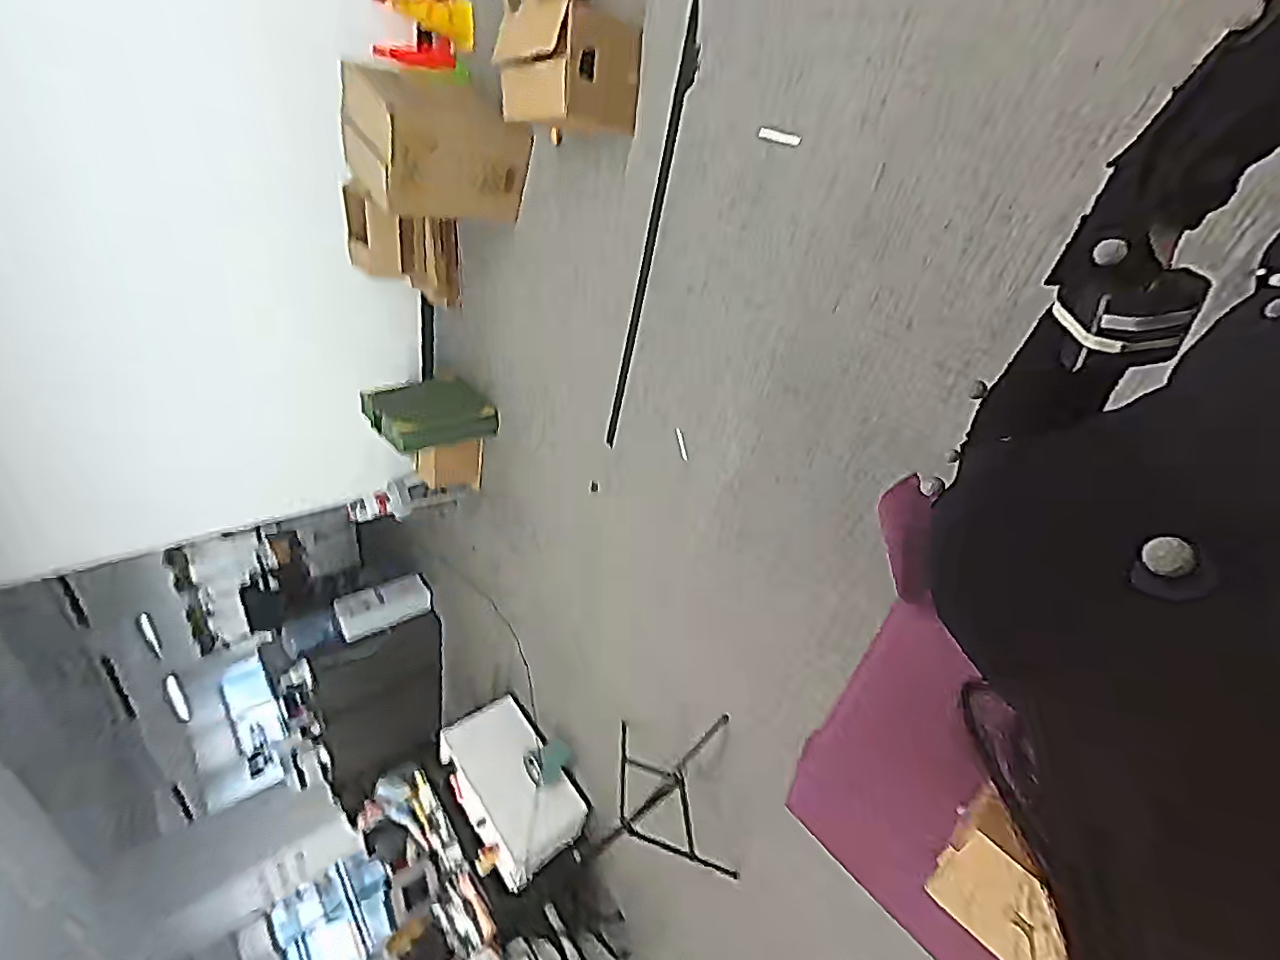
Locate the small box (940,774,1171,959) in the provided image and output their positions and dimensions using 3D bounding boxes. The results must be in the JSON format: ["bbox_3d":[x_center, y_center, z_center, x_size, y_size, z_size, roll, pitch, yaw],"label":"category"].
[{"bbox_3d":[0.550,0.534,0.724,0.179,0.176,0.168,34,128,38],"label":"small box"}]
